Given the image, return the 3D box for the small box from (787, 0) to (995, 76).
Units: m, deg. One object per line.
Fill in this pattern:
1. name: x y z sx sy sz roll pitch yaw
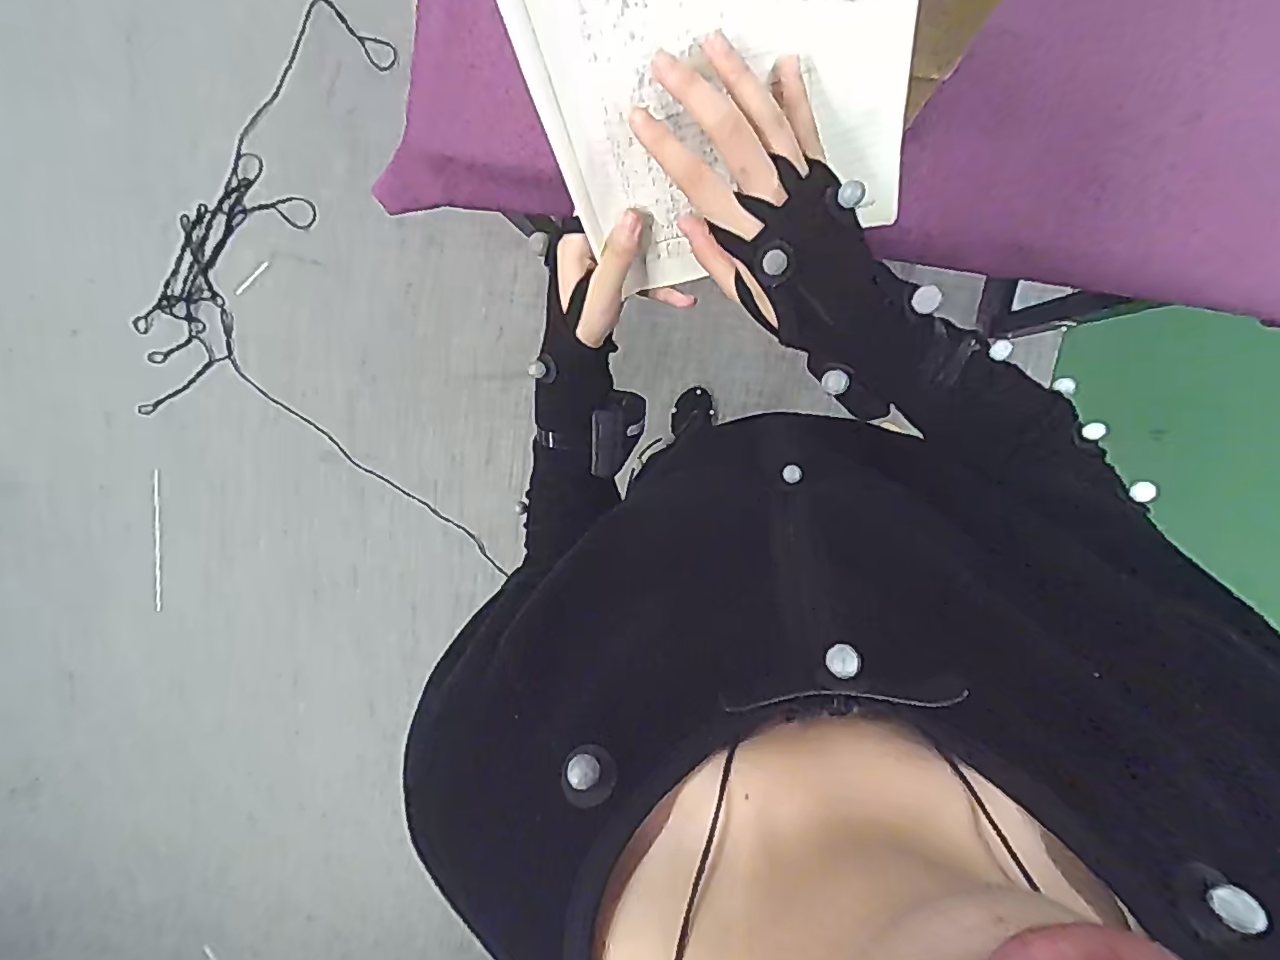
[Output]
1. small box: 0.227 -0.479 0.446 0.168 0.176 0.179 12 97 5
